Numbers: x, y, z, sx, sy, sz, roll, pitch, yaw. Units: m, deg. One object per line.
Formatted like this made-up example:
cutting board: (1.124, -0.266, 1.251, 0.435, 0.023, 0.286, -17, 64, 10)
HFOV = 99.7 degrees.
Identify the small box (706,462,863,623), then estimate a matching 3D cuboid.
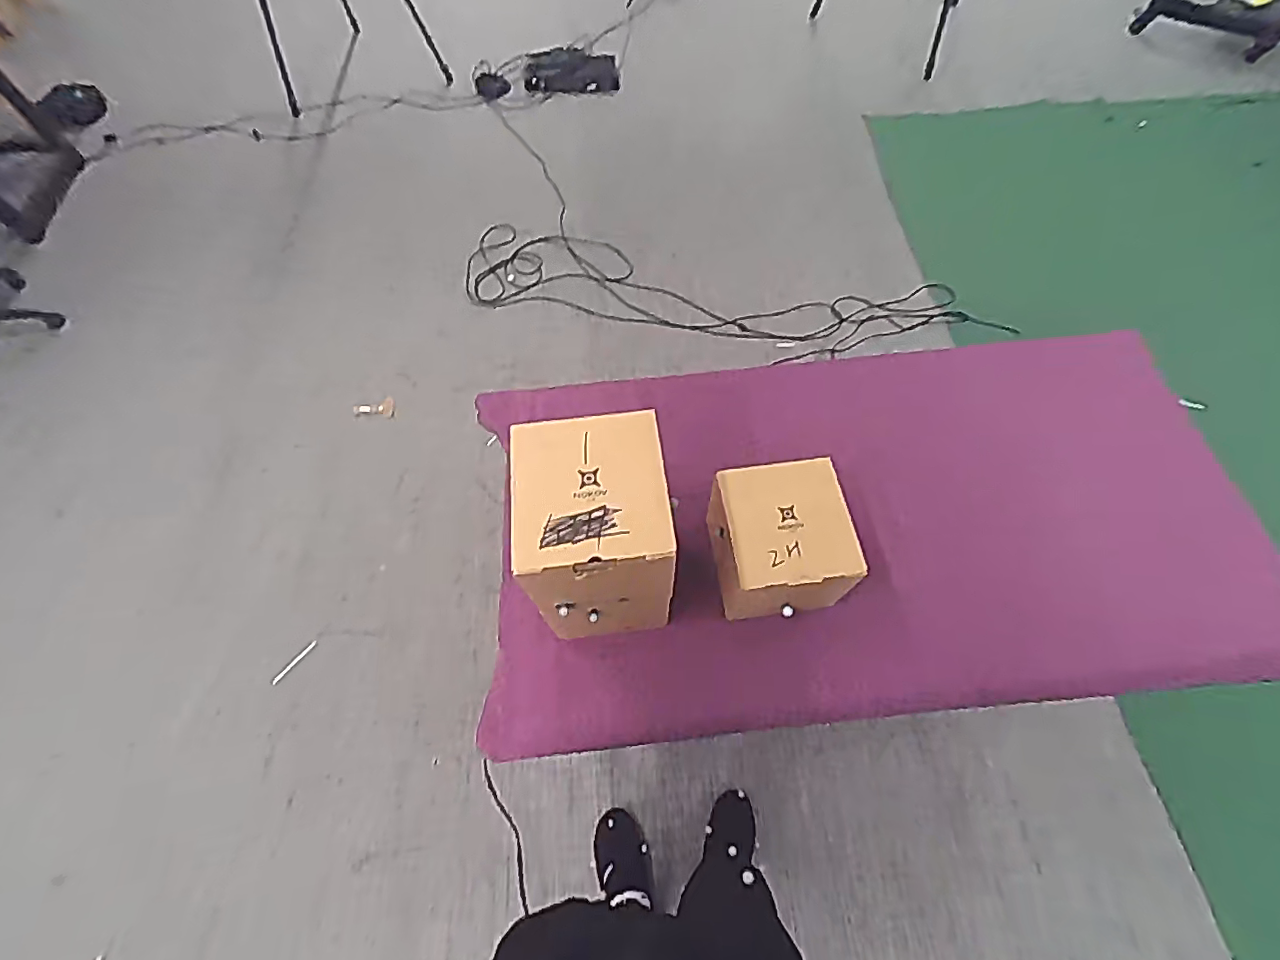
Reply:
small box: (0.195, 0.096, 0.792, 0.168, 0.176, 0.179, -7, 62, -2)

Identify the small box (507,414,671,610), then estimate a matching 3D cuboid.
small box: (-0.055, 0.046, 0.636, 0.168, 0.176, 0.179, -6, 61, -3)
